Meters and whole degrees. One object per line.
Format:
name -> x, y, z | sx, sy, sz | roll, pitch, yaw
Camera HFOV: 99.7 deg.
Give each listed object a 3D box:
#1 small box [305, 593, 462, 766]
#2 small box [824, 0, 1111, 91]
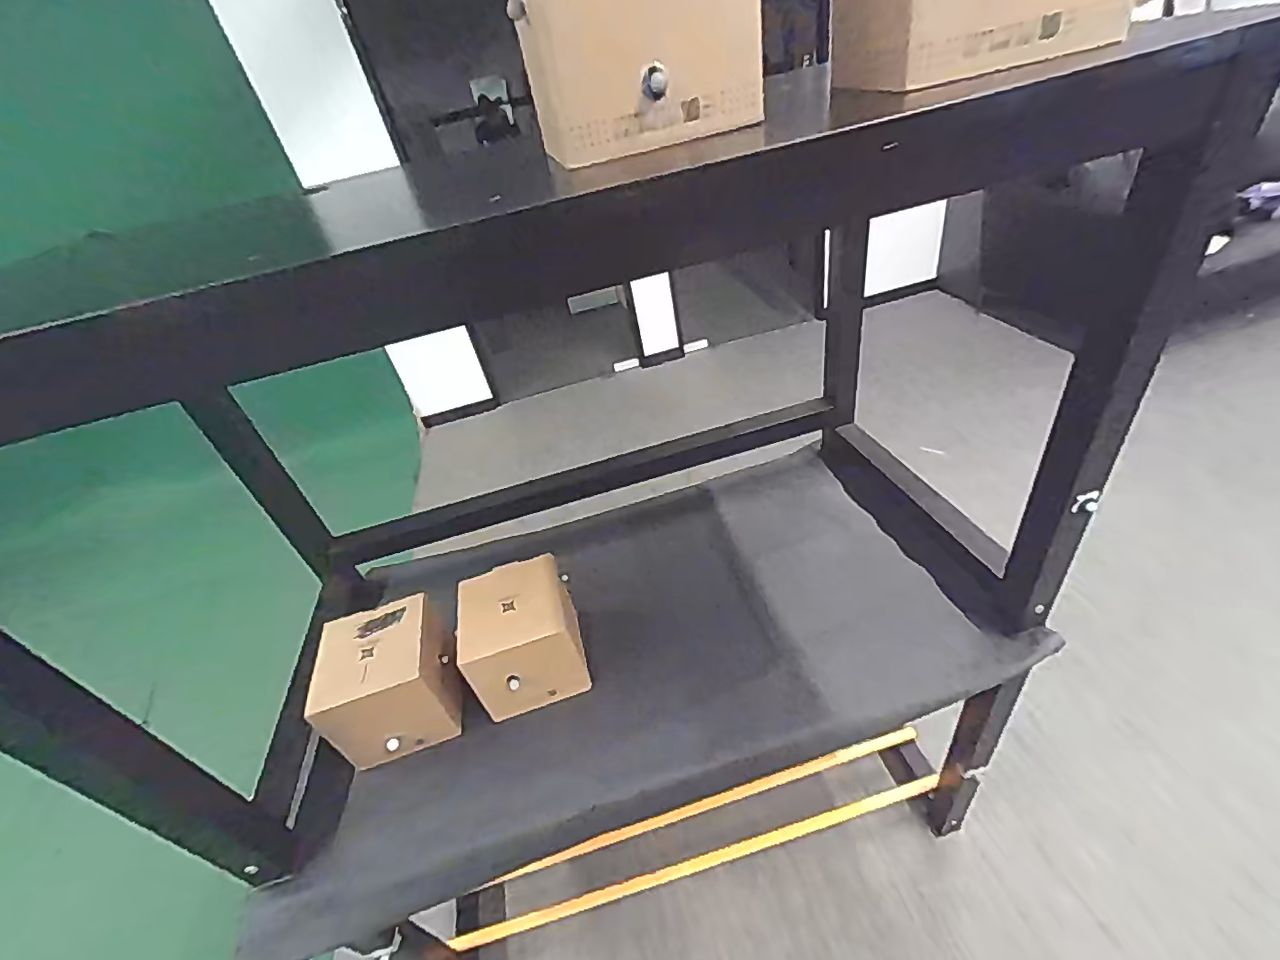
small box -> -0.401, 0.322, 0.879 | 0.168, 0.176, 0.179 | -18, 37, -6
small box -> 0.254, -0.428, 0.430 | 0.168, 0.176, 0.179 | -10, 36, 4
